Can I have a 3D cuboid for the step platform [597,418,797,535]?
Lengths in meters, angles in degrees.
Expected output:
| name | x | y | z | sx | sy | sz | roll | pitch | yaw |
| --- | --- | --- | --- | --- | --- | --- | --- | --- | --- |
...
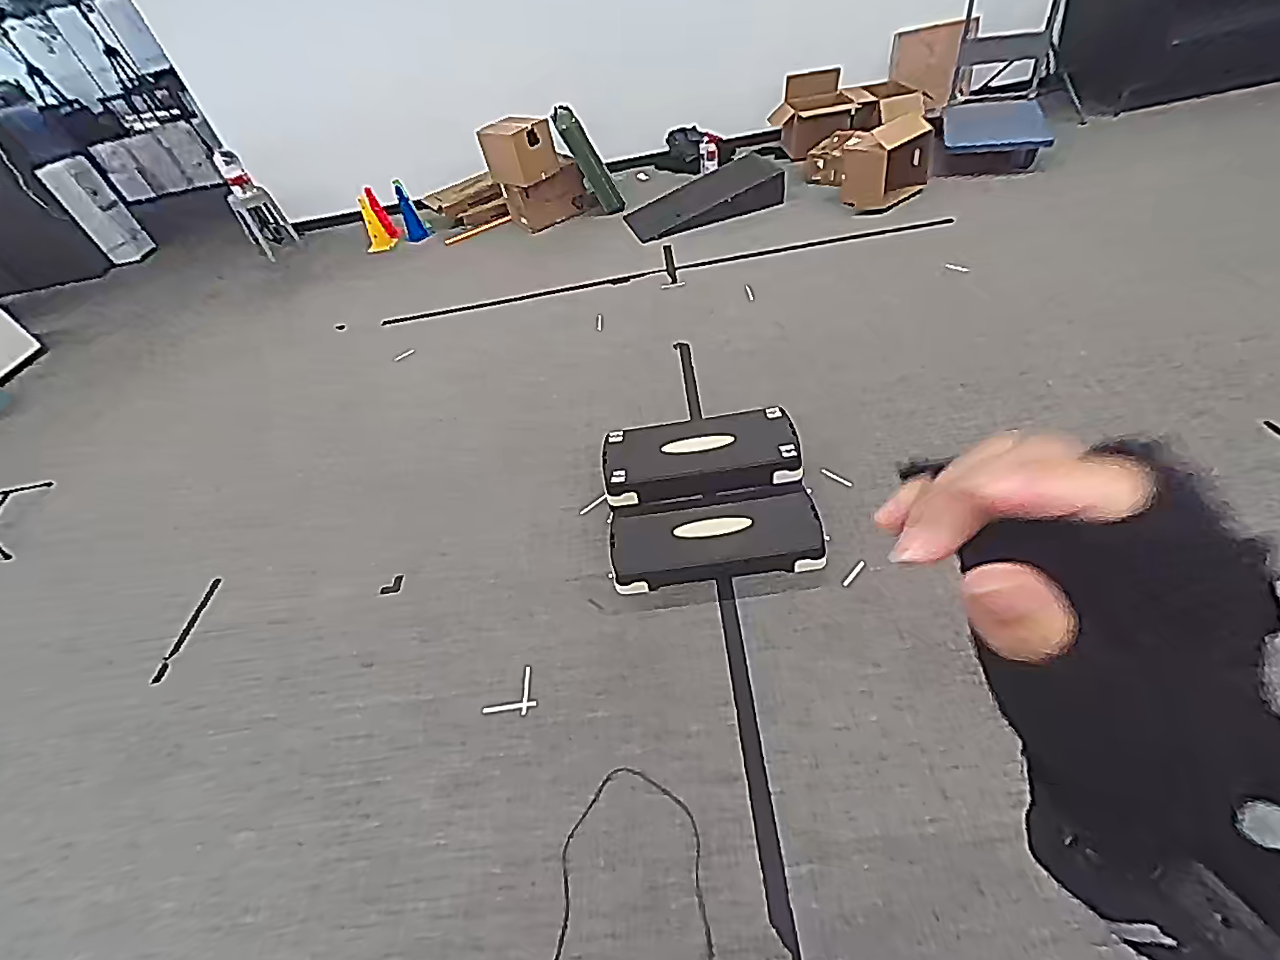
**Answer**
| name | x | y | z | sx | sy | sz | roll | pitch | yaw |
| --- | --- | --- | --- | --- | --- | --- | --- | --- | --- |
| step platform | 0.192 | -0.017 | 1.896 | 0.684 | 0.204 | 0.286 | -9 | 46 | 3 |
